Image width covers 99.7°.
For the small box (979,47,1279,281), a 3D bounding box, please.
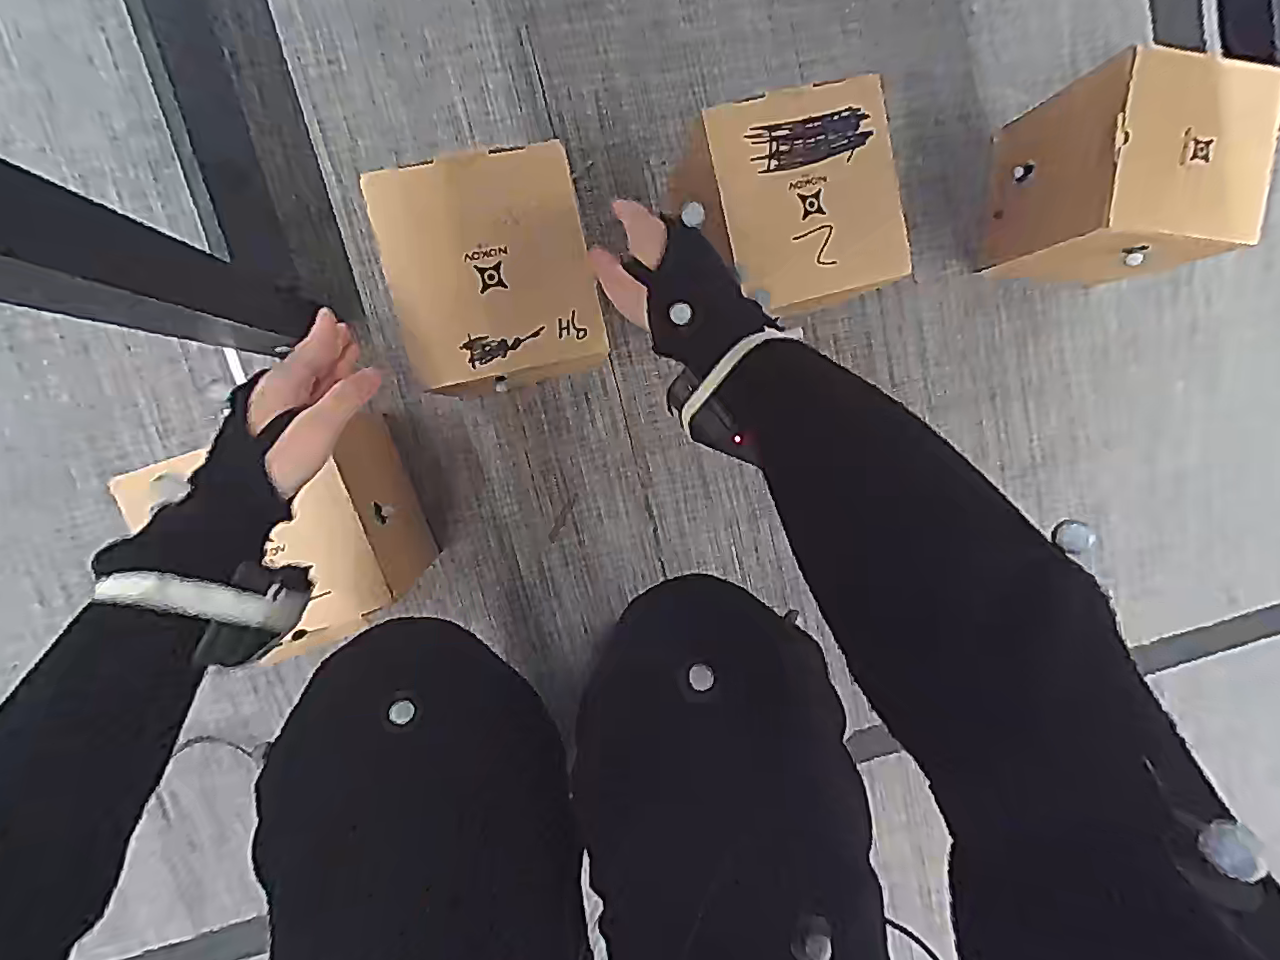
[{"bbox_3d":[0.525,-0.327,0.600,0.179,0.176,0.168,2,97,-8],"label":"small box"}]
